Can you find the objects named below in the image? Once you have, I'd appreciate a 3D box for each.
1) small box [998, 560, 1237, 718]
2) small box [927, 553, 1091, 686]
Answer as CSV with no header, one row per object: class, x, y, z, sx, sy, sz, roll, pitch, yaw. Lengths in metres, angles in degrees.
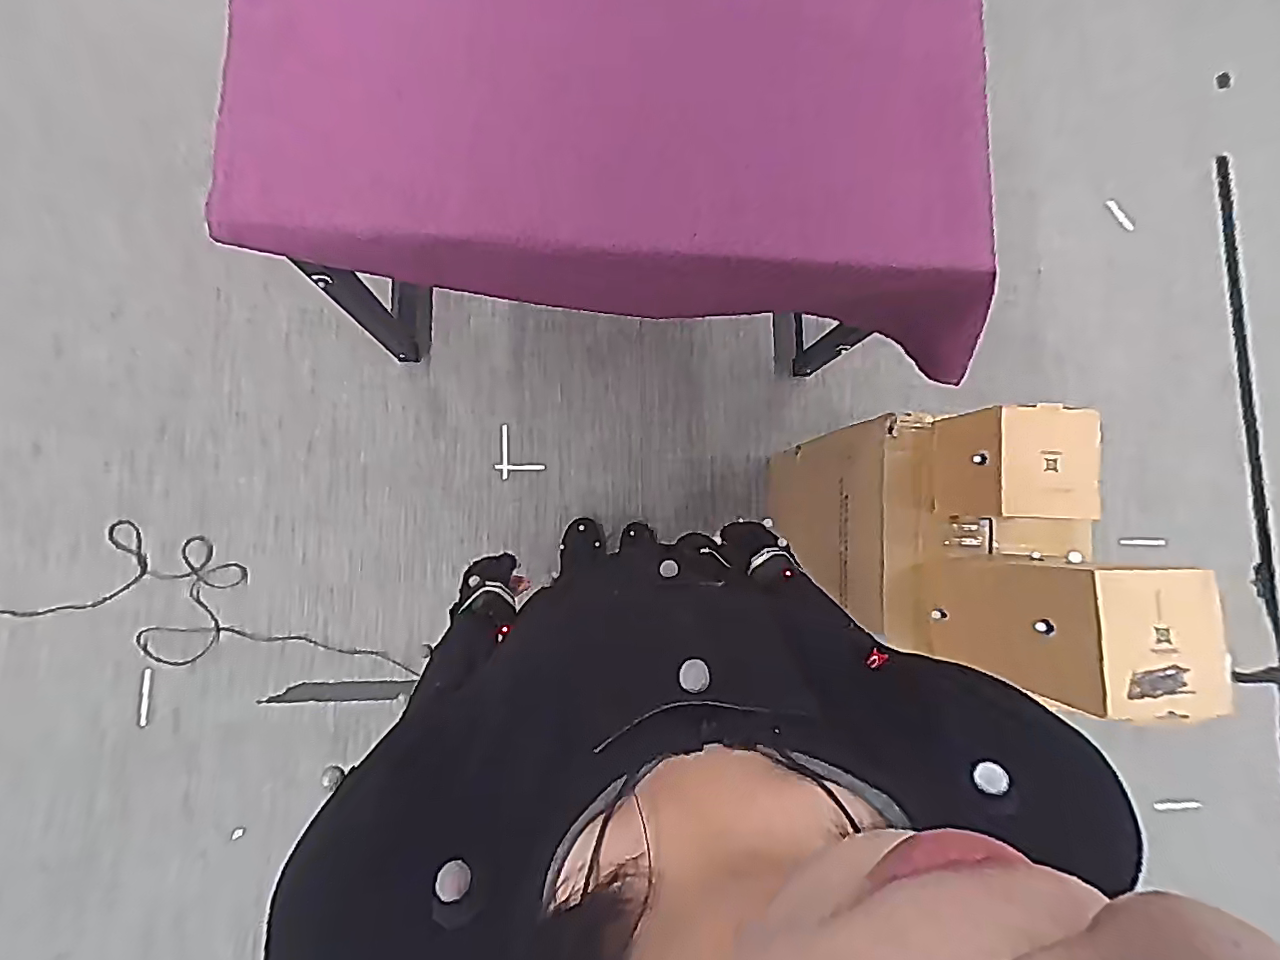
small box,0.615,0.198,0.718,0.168,0.176,0.179,1,83,-5
small box,0.601,0.216,0.882,0.168,0.176,0.179,-5,85,-6
